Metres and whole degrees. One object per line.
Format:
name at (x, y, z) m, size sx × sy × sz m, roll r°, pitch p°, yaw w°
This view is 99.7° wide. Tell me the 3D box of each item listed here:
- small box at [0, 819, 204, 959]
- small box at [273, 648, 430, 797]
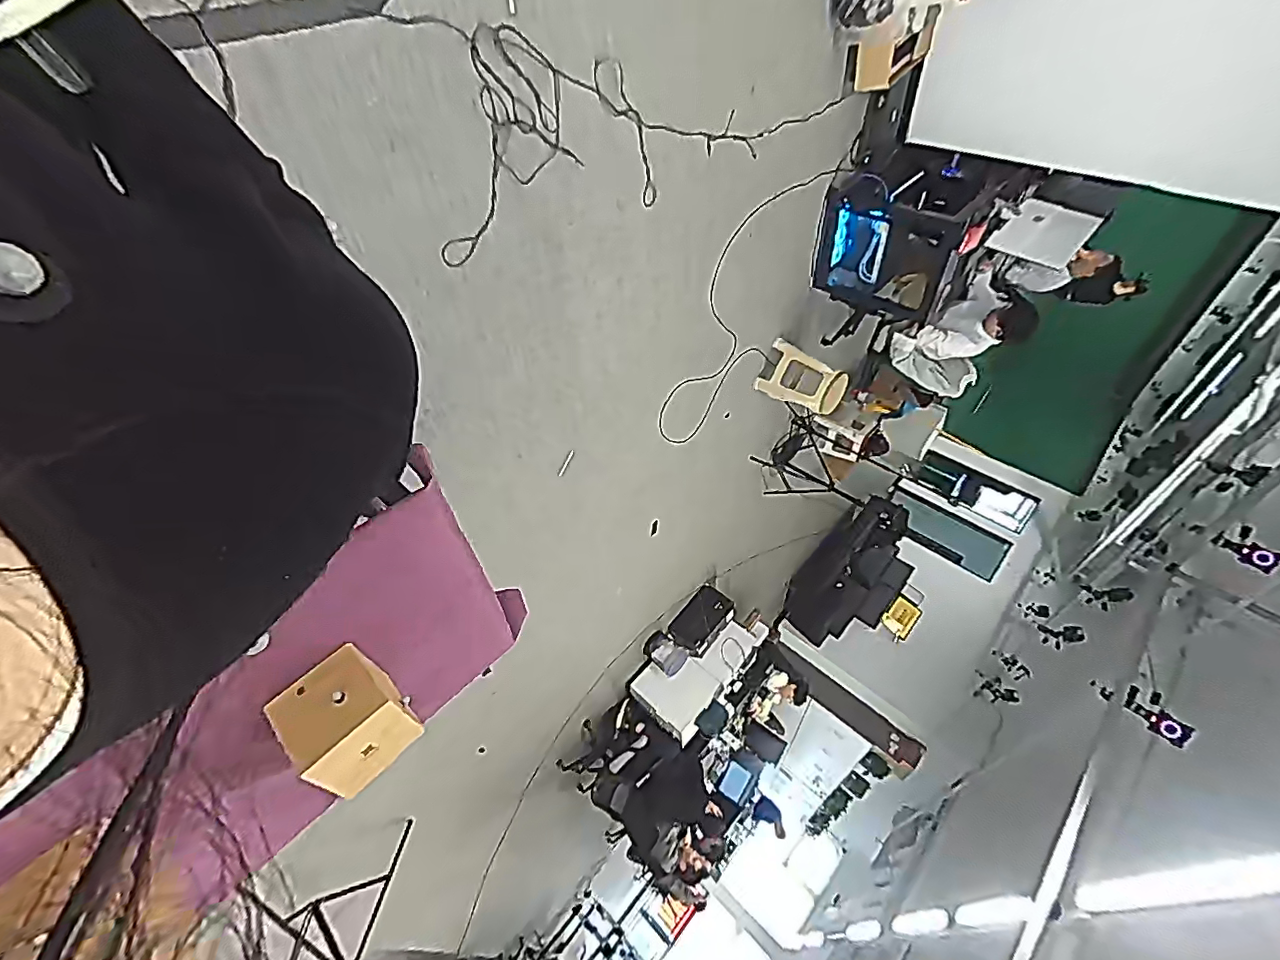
small box at (-0.814, 0.650, 0.802) m, size 0.179 × 0.176 × 0.168 m, roll -38°, pitch 144°, yaw -28°
small box at (-0.535, 0.444, 1.009) m, size 0.168 × 0.176 × 0.179 m, roll -41°, pitch 147°, yaw -26°
